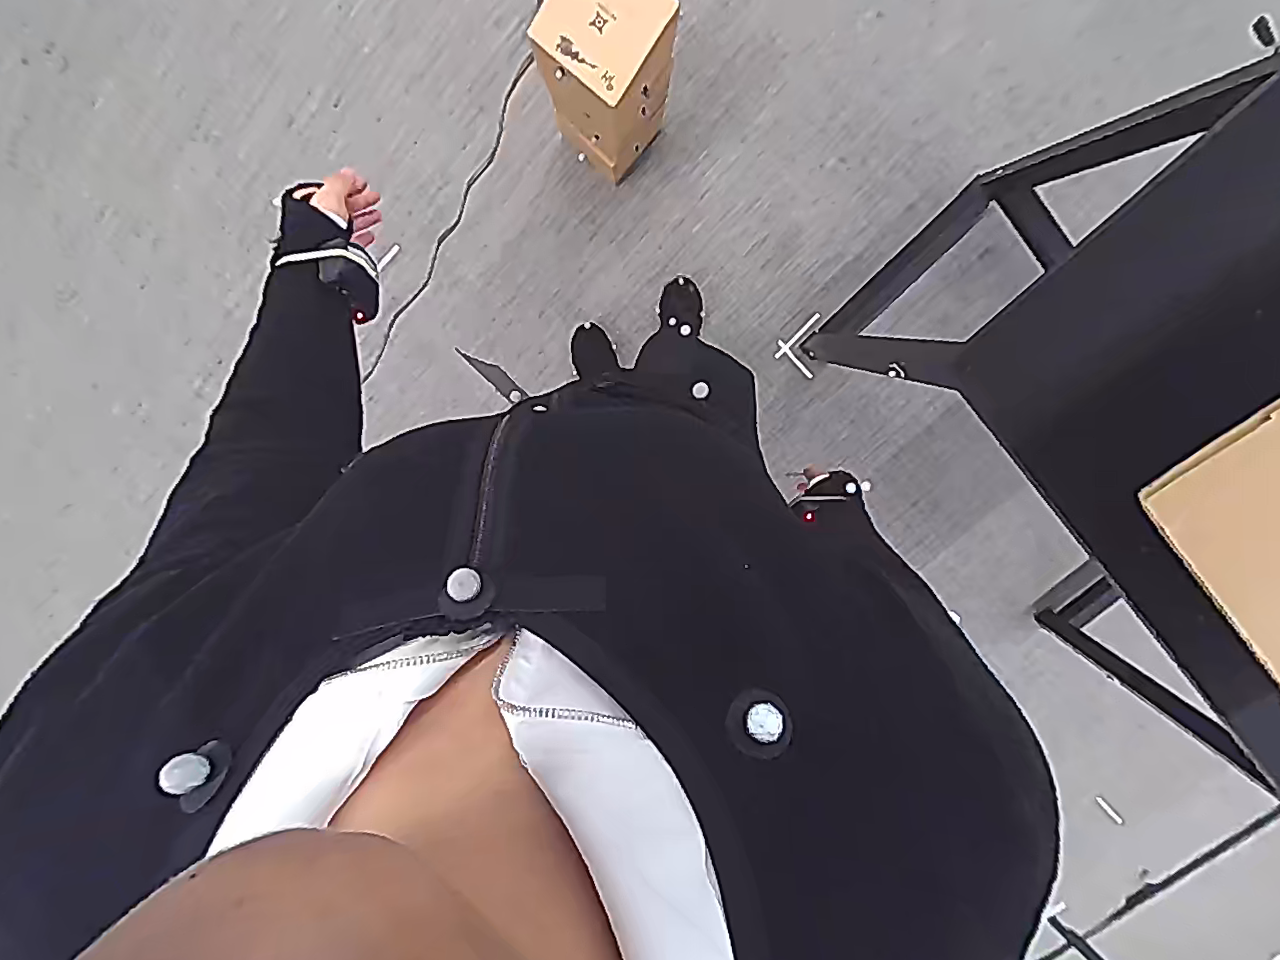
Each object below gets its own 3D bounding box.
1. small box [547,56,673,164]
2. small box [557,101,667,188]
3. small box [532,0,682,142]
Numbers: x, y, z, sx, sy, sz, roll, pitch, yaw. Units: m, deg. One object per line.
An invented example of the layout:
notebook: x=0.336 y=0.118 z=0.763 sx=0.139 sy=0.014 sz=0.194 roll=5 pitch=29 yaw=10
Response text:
small box: x=-0.055 y=-0.759 z=1.051 sx=0.168 sy=0.176 sz=0.179 roll=37 pitch=100 yaw=-11
small box: x=-0.062 y=-0.797 z=1.208 sx=0.168 sy=0.176 sz=0.179 roll=41 pitch=102 yaw=-11
small box: x=-0.054 y=-0.711 z=0.894 sx=0.168 sy=0.176 sz=0.179 roll=35 pitch=101 yaw=-10
